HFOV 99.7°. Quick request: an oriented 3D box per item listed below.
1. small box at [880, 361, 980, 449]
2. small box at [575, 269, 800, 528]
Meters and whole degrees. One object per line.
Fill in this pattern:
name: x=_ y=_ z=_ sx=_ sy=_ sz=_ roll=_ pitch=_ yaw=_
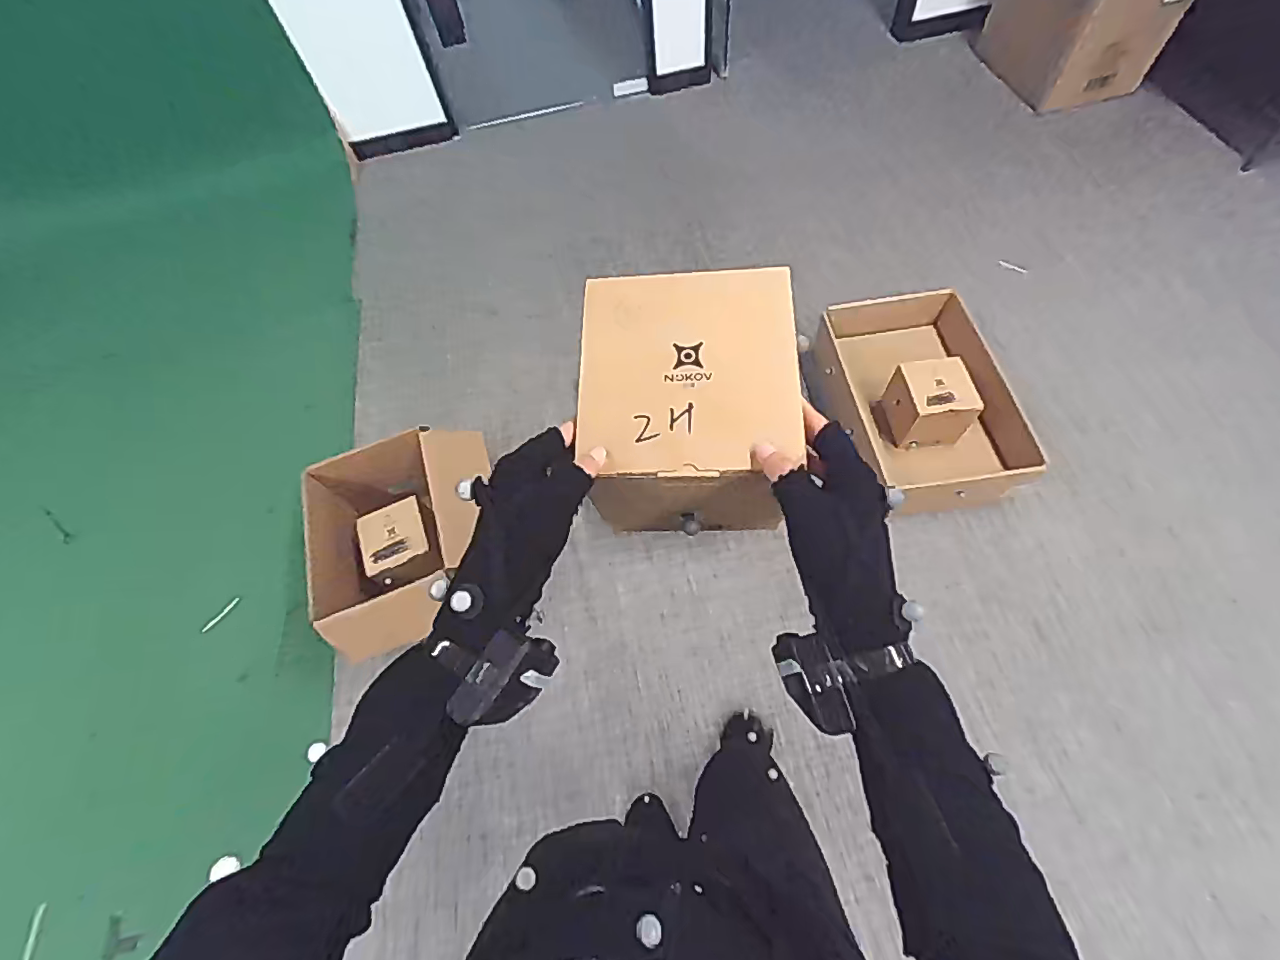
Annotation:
small box: x=0.785 y=-0.198 z=1.481 sx=0.168 sy=0.176 sz=0.179 roll=-6 pitch=60 yaw=2
small box: x=0.044 y=-0.063 z=0.492 sx=0.168 sy=0.176 sz=0.179 roll=-1 pitch=71 yaw=7
